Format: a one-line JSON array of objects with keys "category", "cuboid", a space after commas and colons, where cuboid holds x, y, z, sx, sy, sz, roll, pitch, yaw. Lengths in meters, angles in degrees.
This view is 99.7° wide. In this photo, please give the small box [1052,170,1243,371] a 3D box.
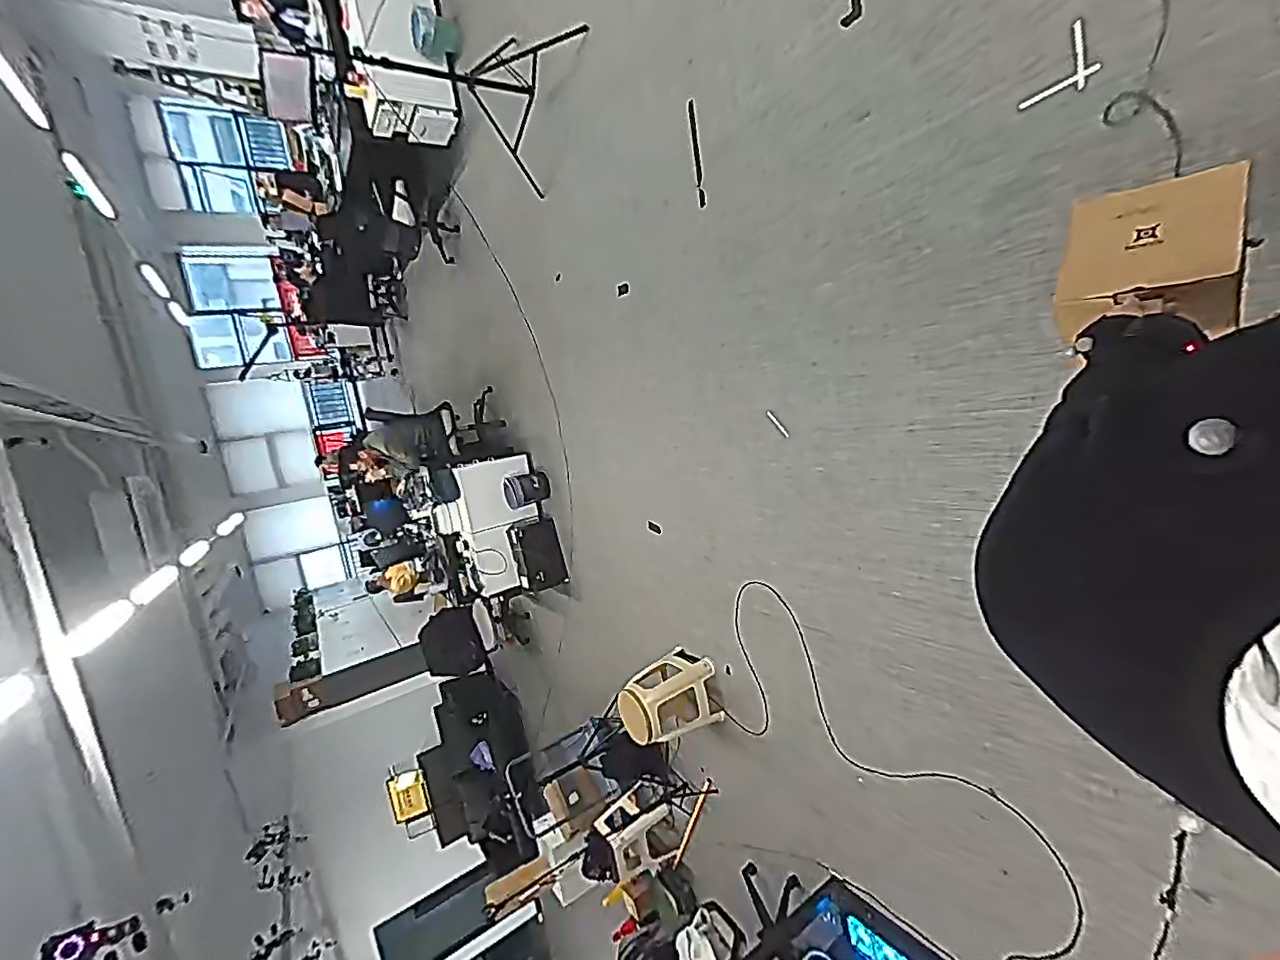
[{"category": "small box", "cuboid": [0.682, -0.261, 0.727, 0.168, 0.176, 0.179, 5, 64, 47]}]
